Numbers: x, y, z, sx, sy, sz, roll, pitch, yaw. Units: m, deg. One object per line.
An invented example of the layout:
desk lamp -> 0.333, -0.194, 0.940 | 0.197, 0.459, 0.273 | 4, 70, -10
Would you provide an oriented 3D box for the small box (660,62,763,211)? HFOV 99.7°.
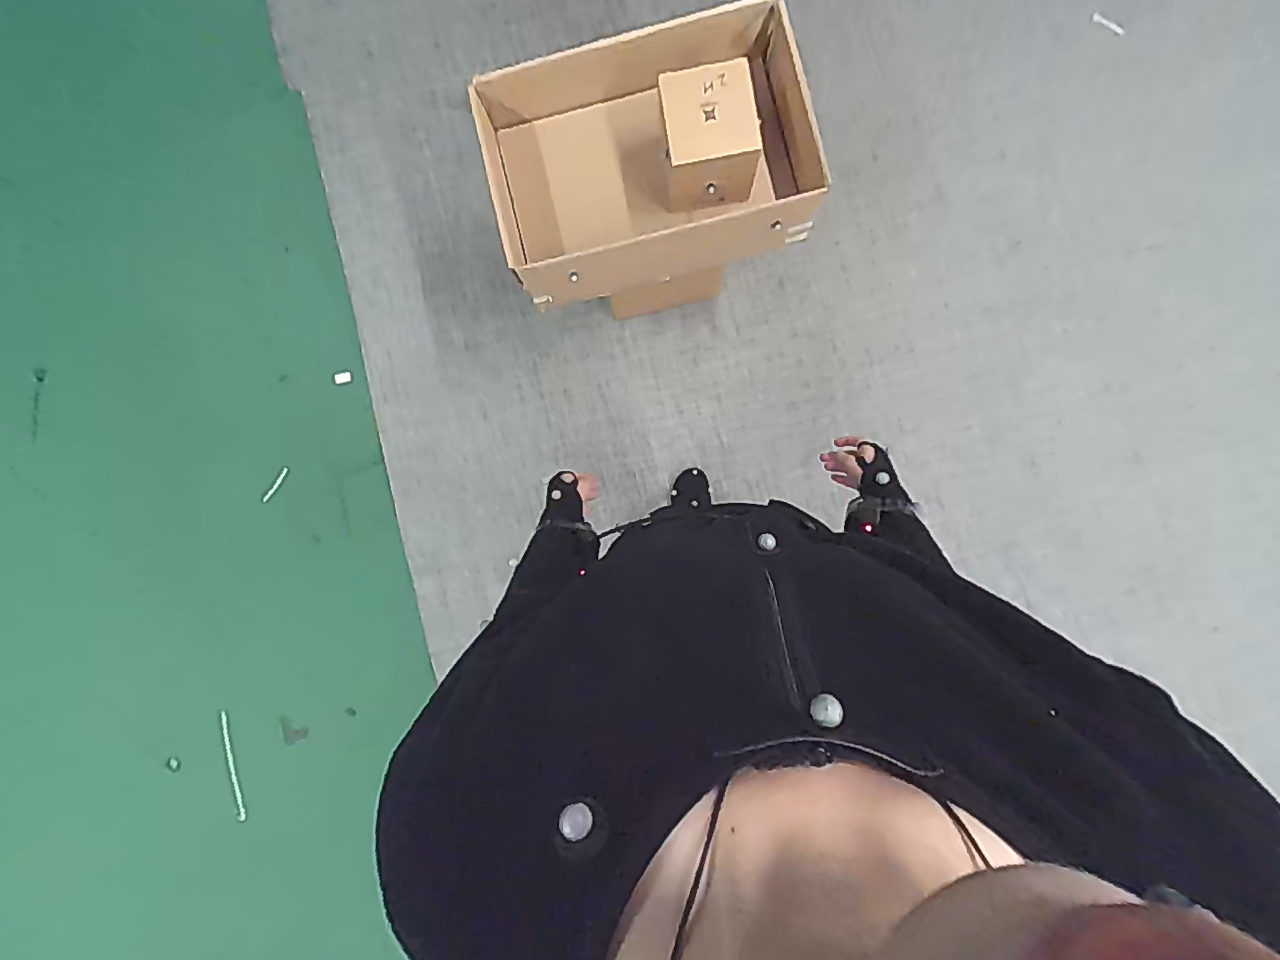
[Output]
small box -> 0.135, -0.647, 1.045 | 0.168, 0.176, 0.179 | -8, 86, 3
